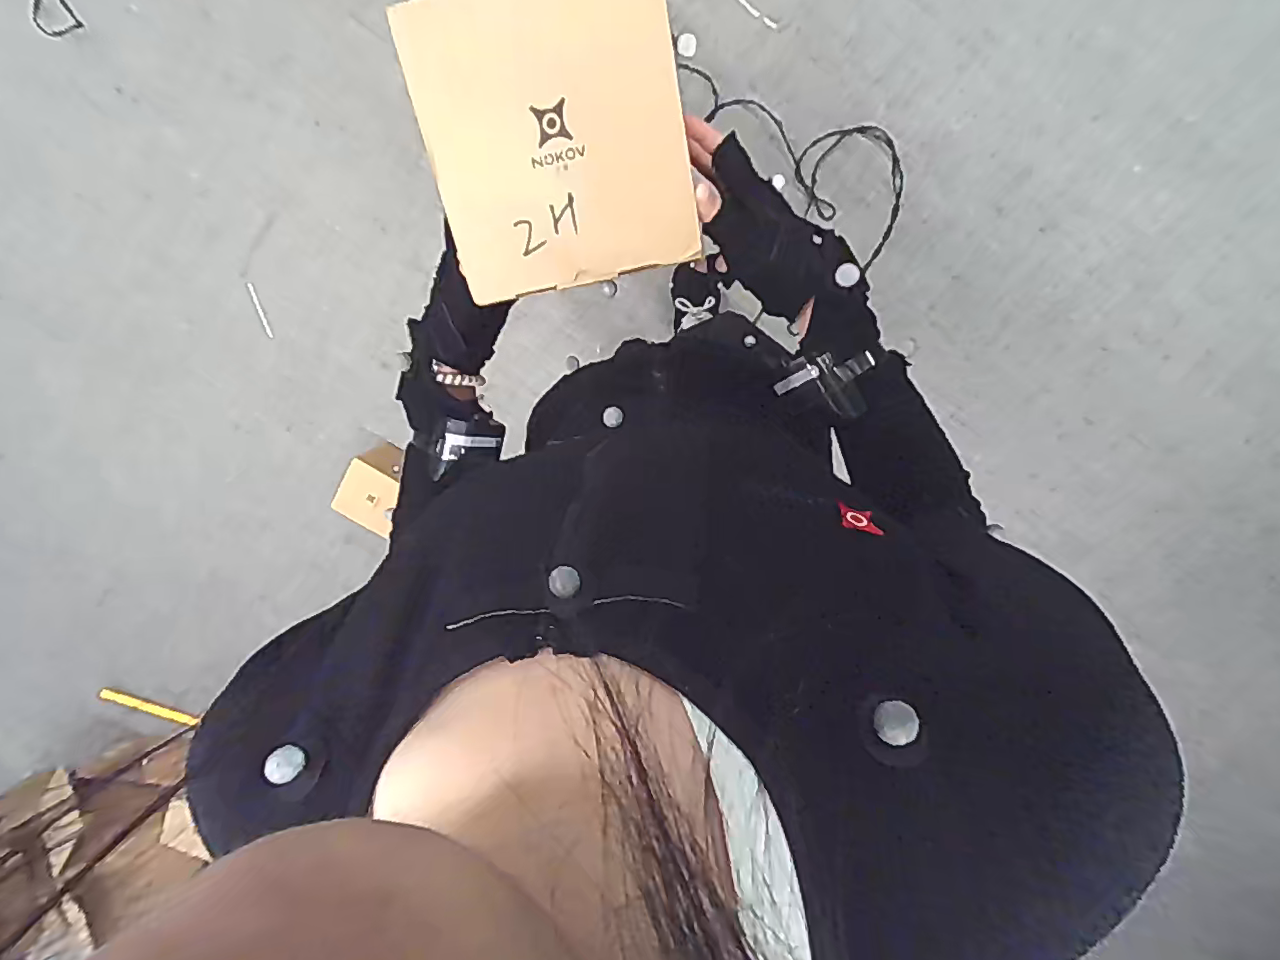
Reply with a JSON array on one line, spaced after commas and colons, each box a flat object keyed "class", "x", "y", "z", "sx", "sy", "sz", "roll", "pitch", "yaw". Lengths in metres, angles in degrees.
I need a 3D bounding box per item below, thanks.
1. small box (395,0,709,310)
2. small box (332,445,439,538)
[{"class": "small box", "x": -0.044, "y": -0.238, "z": 0.409, "sx": 0.168, "sy": 0.176, "sz": 0.179, "roll": -9, "pitch": 112, "yaw": 8}, {"class": "small box", "x": -0.686, "y": 0.022, "z": 1.471, "sx": 0.179, "sy": 0.176, "sz": 0.168, "roll": 31, "pitch": 107, "yaw": -8}]
